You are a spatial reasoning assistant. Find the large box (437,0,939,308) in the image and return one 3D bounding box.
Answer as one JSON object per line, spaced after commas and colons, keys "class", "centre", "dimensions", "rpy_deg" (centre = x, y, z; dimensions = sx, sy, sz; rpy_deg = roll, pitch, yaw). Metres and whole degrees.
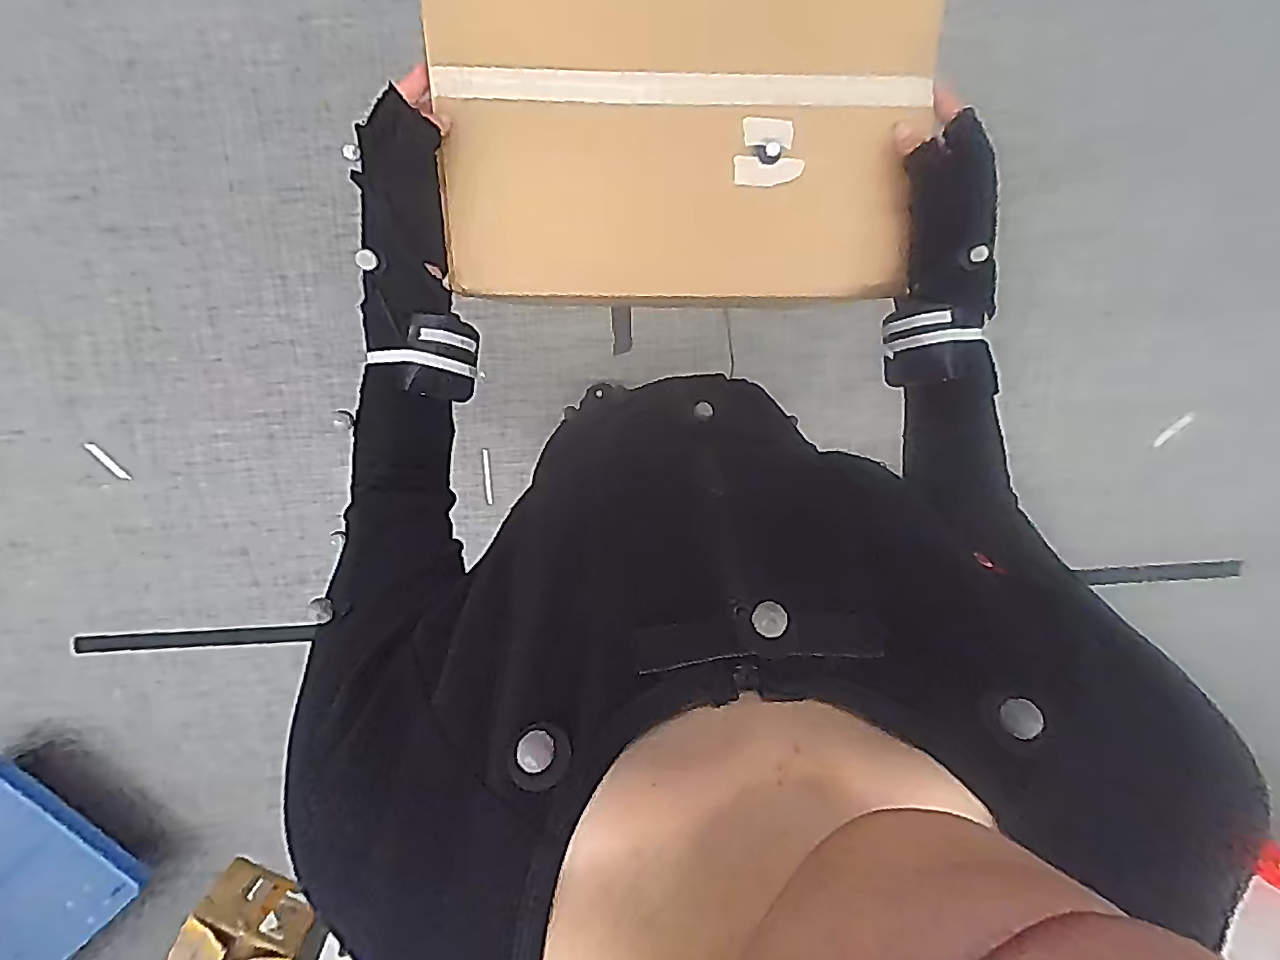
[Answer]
{"class": "large box", "centre": [0.031, -0.357, 0.583], "dimensions": [0.408, 0.320, 0.320], "rpy_deg": [-1, 106, -4]}
